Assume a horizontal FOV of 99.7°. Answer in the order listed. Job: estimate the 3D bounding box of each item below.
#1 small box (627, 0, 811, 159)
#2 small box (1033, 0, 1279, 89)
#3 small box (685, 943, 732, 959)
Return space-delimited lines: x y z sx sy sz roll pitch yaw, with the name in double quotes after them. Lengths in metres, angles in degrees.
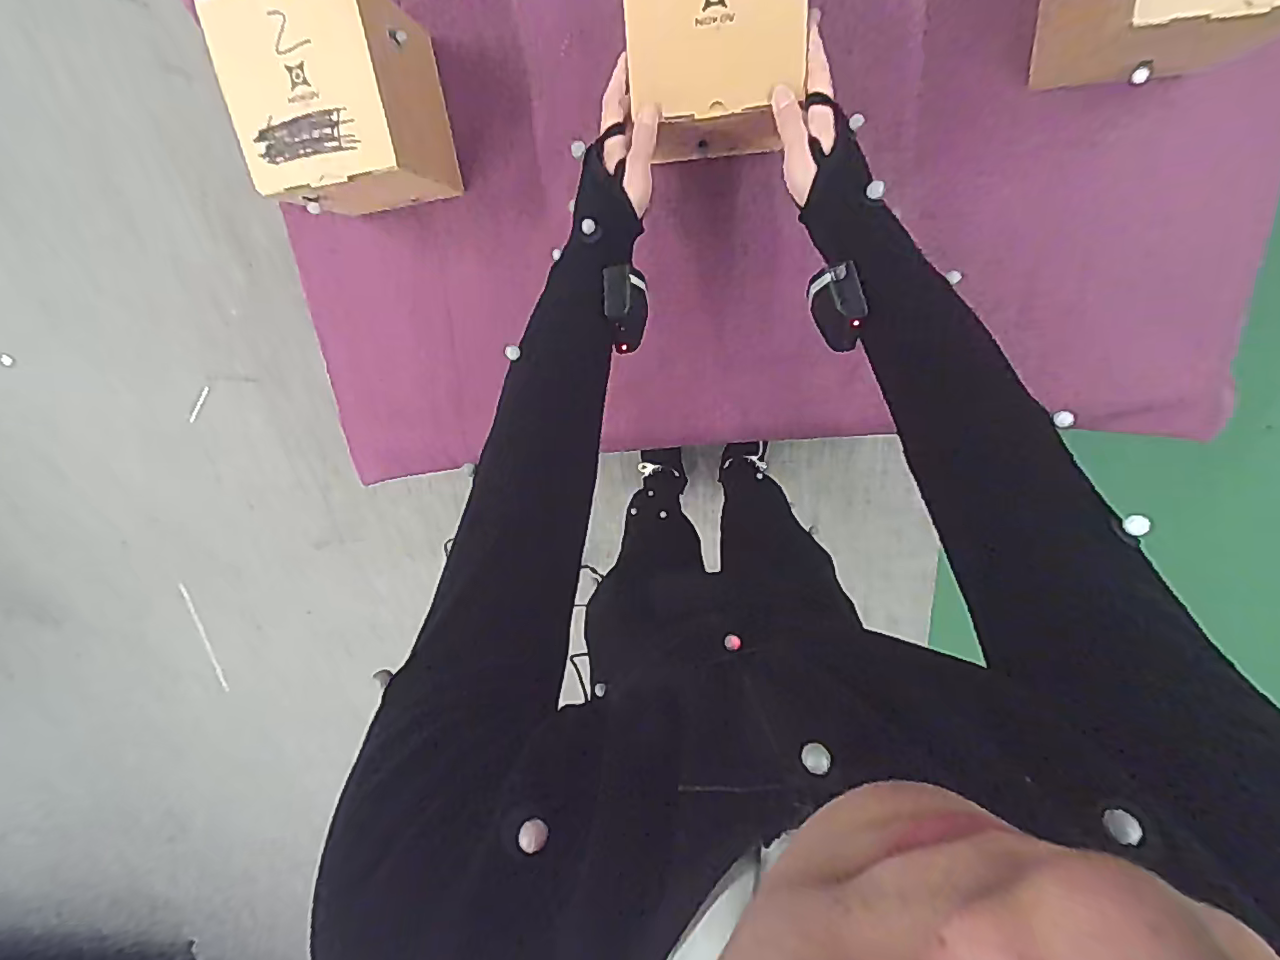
0.075 -0.452 0.555 0.168 0.176 0.179 -3 111 7 "small box"
0.498 -0.491 0.490 0.168 0.176 0.179 0 111 9 "small box"
0.242 1.765 1.882 0.168 0.176 0.179 -3 110 7 "small box"
